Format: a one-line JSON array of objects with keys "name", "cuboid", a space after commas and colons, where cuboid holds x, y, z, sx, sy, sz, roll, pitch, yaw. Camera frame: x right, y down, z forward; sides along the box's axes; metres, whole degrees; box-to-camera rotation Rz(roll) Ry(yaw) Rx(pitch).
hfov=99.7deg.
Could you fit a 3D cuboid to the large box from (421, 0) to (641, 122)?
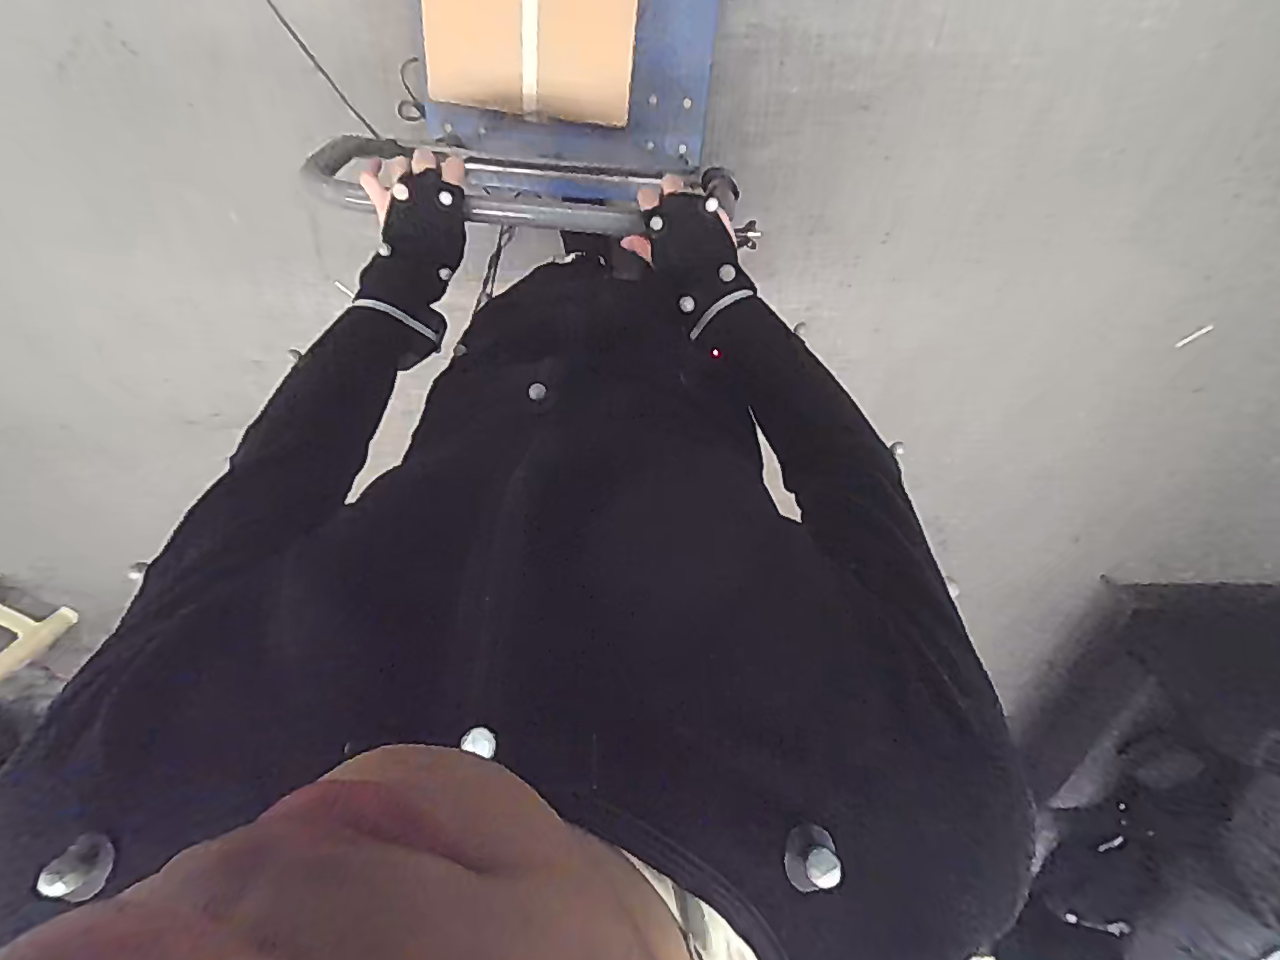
[{"name": "large box", "cuboid": [-0.152, -0.825, 0.861, 0.320, 0.320, 0.408, 5, 124, -5]}]
